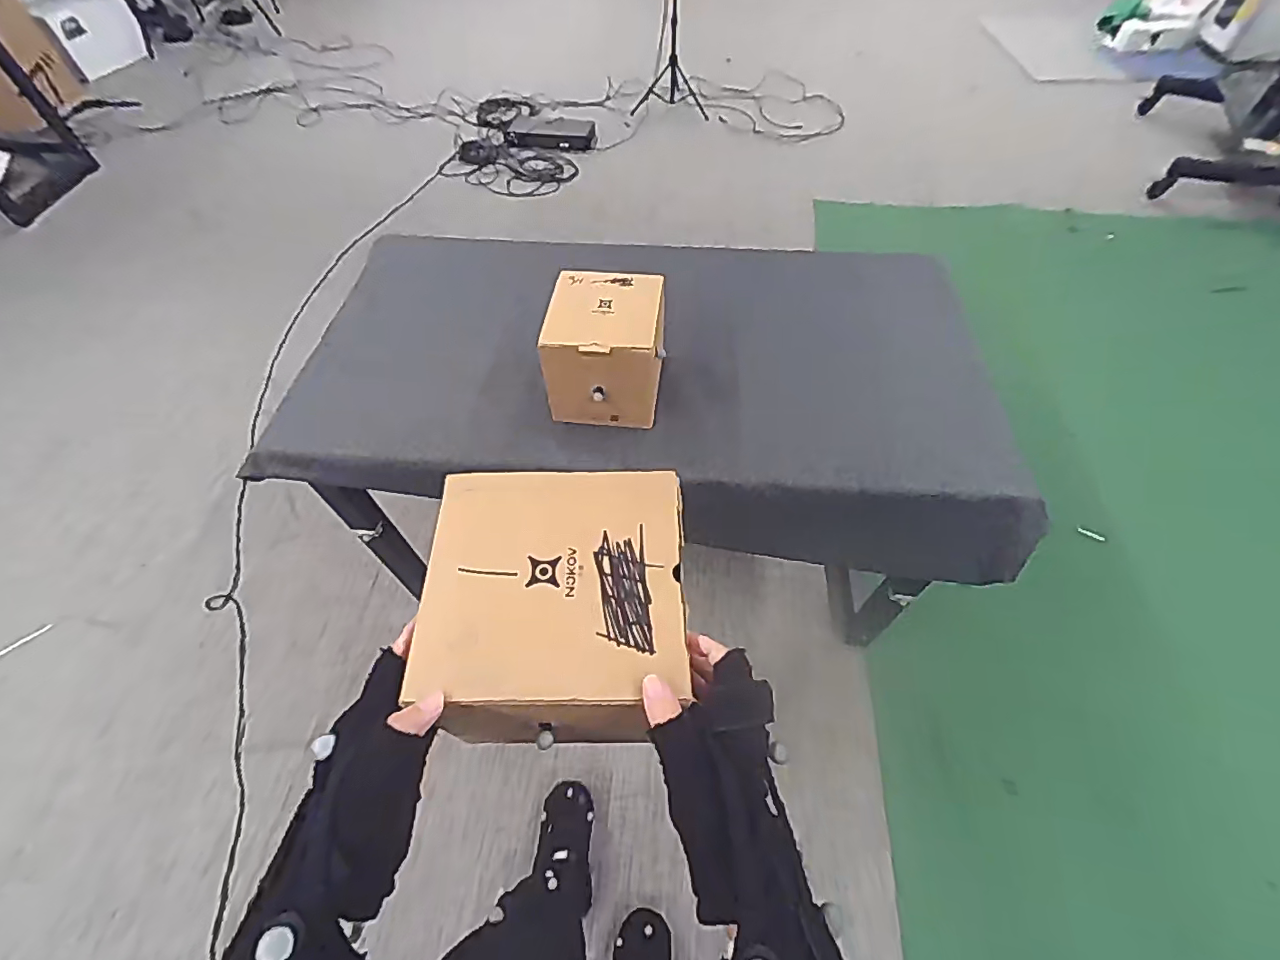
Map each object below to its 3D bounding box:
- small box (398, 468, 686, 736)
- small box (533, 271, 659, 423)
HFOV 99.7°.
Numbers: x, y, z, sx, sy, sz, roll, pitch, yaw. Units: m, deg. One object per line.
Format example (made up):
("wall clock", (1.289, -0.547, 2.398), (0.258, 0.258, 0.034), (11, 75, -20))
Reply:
("small box", (-0.061, 0.104, 0.436), (0.179, 0.176, 0.168), (-1, 57, -1))
("small box", (-0.059, -0.208, 0.866), (0.168, 0.176, 0.179), (4, 56, 5))
